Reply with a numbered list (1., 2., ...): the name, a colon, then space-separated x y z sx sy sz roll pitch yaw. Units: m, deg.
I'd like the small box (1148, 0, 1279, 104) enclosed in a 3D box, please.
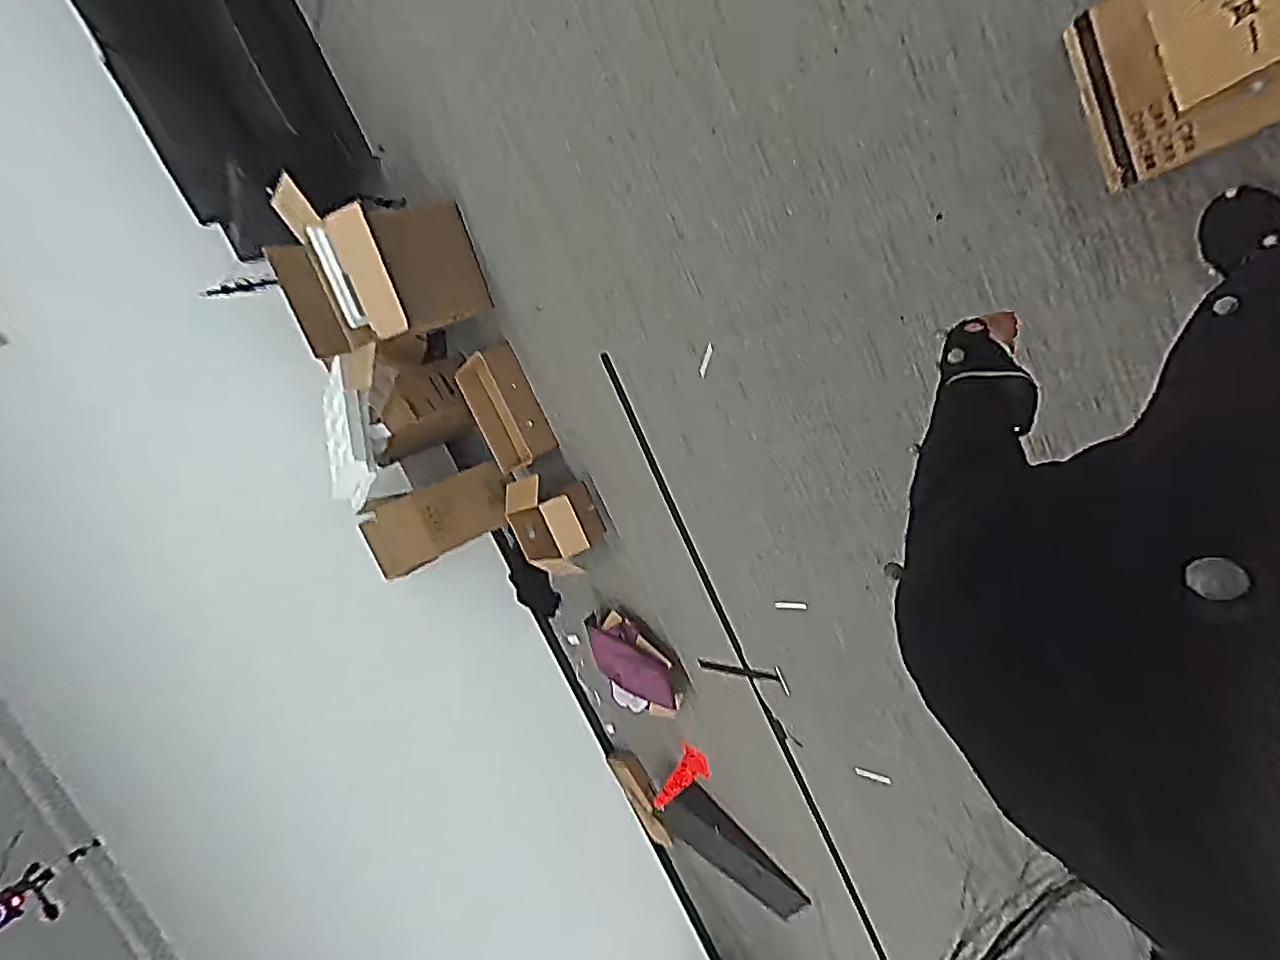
1. small box: 0.841 -0.657 0.749 0.168 0.176 0.179 -17 101 53
